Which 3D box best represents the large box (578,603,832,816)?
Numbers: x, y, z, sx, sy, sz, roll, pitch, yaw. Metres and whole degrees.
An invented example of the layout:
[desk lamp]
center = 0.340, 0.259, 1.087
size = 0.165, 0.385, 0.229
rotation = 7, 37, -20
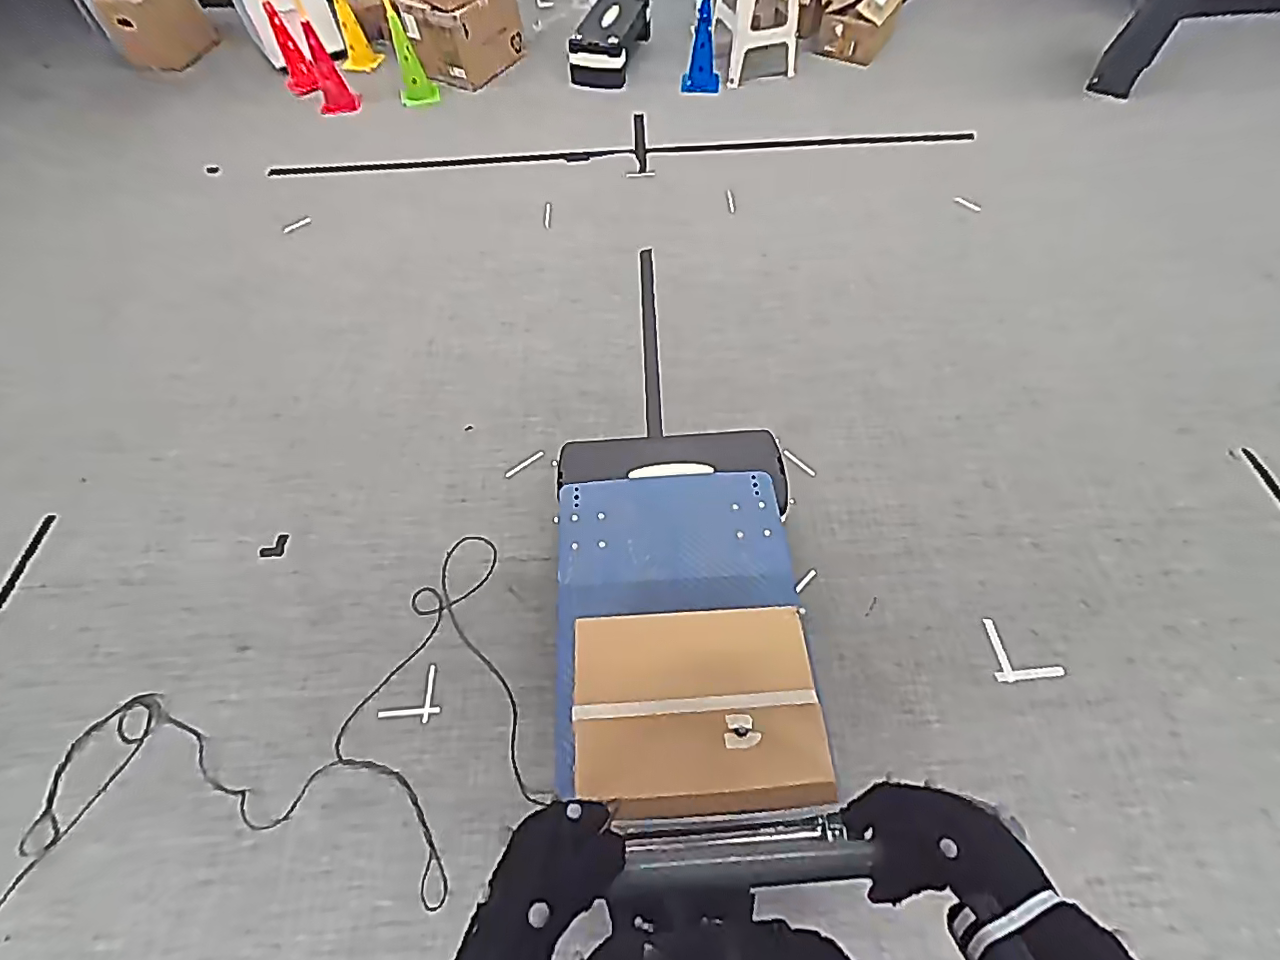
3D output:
[large box]
center = 0.094, 0.450, 1.046
size = 0.408, 0.320, 0.320
rotation = -3, 60, -2
